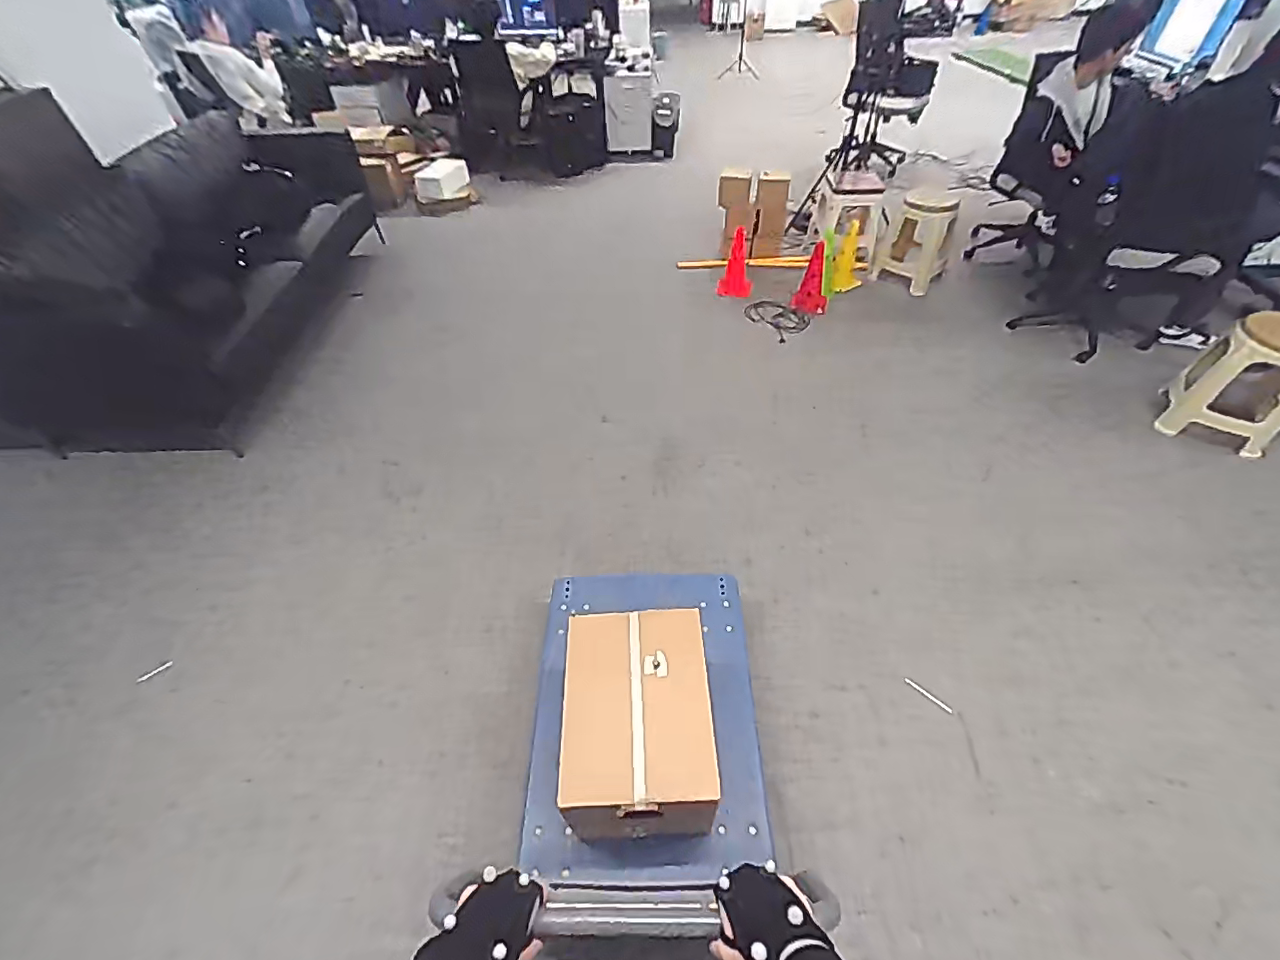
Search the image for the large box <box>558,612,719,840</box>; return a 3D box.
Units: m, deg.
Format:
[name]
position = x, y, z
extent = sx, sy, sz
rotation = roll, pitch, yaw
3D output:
[large box]
position = -0.004, 0.573, 1.267
extent = 0.320, 0.320, 0.408
rotation = -3, 47, 0
